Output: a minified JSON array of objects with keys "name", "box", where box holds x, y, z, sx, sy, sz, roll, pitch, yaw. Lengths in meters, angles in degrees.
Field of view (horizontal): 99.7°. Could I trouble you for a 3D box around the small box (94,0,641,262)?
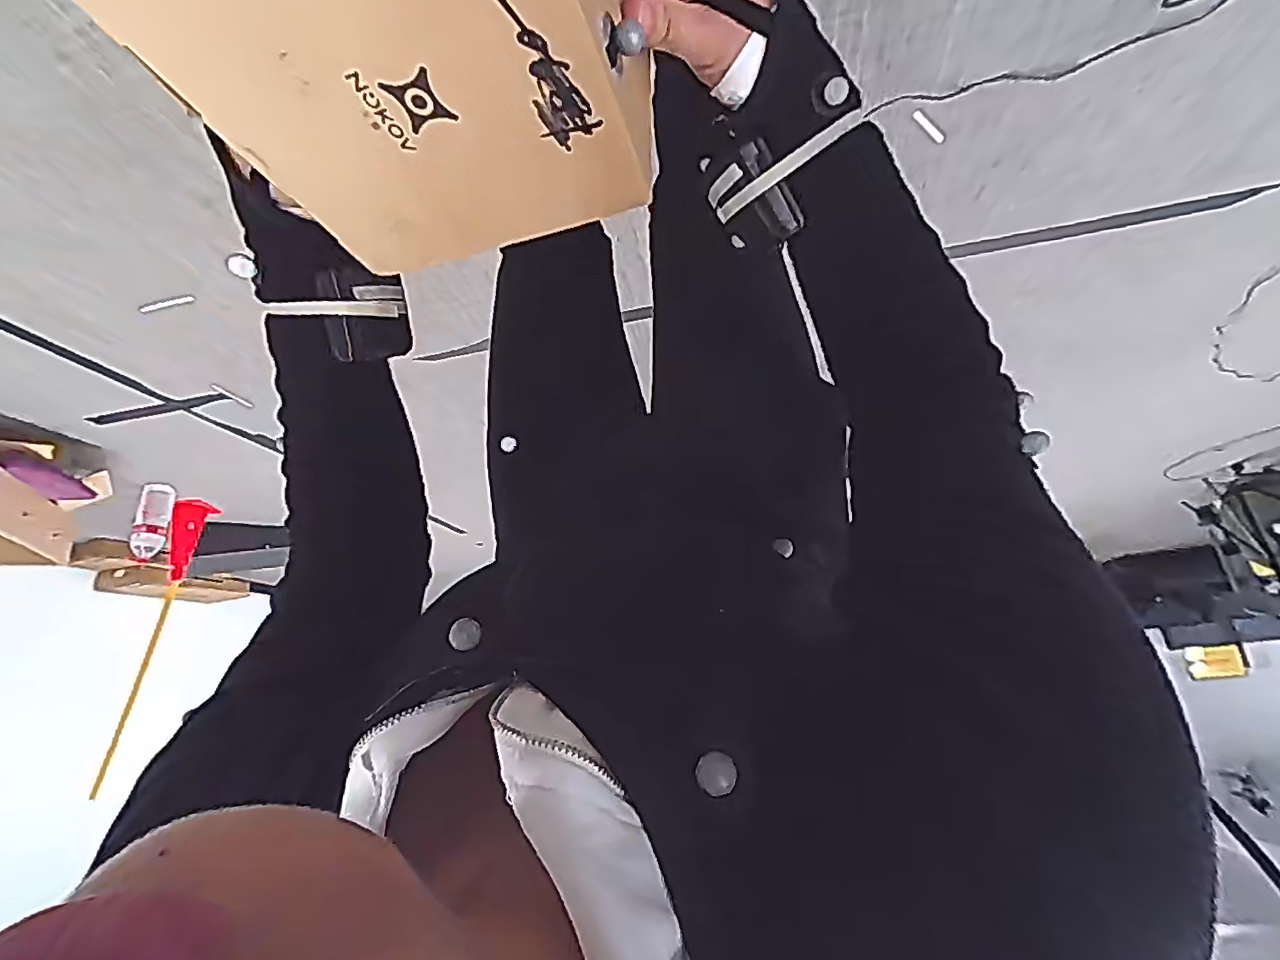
[{"name":"small box","box":[-0.102,-0.241,0.259,0.179,0.176,0.168,-5,160,17]}]
